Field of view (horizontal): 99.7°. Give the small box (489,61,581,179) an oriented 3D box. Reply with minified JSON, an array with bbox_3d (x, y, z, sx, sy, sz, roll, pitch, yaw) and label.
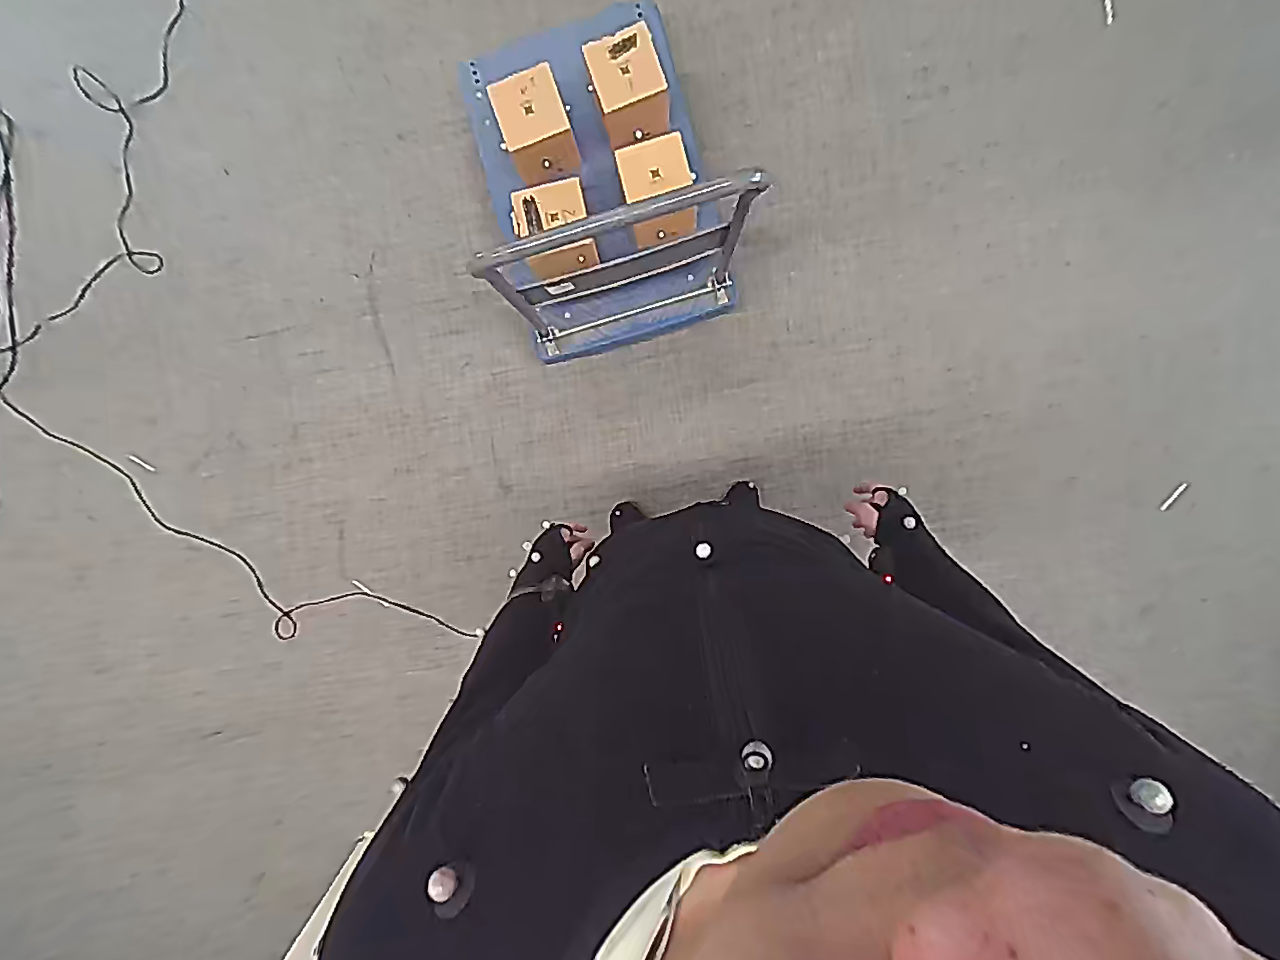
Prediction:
[{"bbox_3d":[-0.262,-0.911,1.392,0.168,0.176,0.179,-19,90,3],"label":"small box"}]

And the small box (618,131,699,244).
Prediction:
[{"bbox_3d":[0.048,-0.735,1.375,0.168,0.176,0.179,-15,91,4],"label":"small box"}]

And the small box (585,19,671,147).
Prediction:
[{"bbox_3d":[-0.025,-0.996,1.373,0.168,0.176,0.179,-19,91,5],"label":"small box"}]
